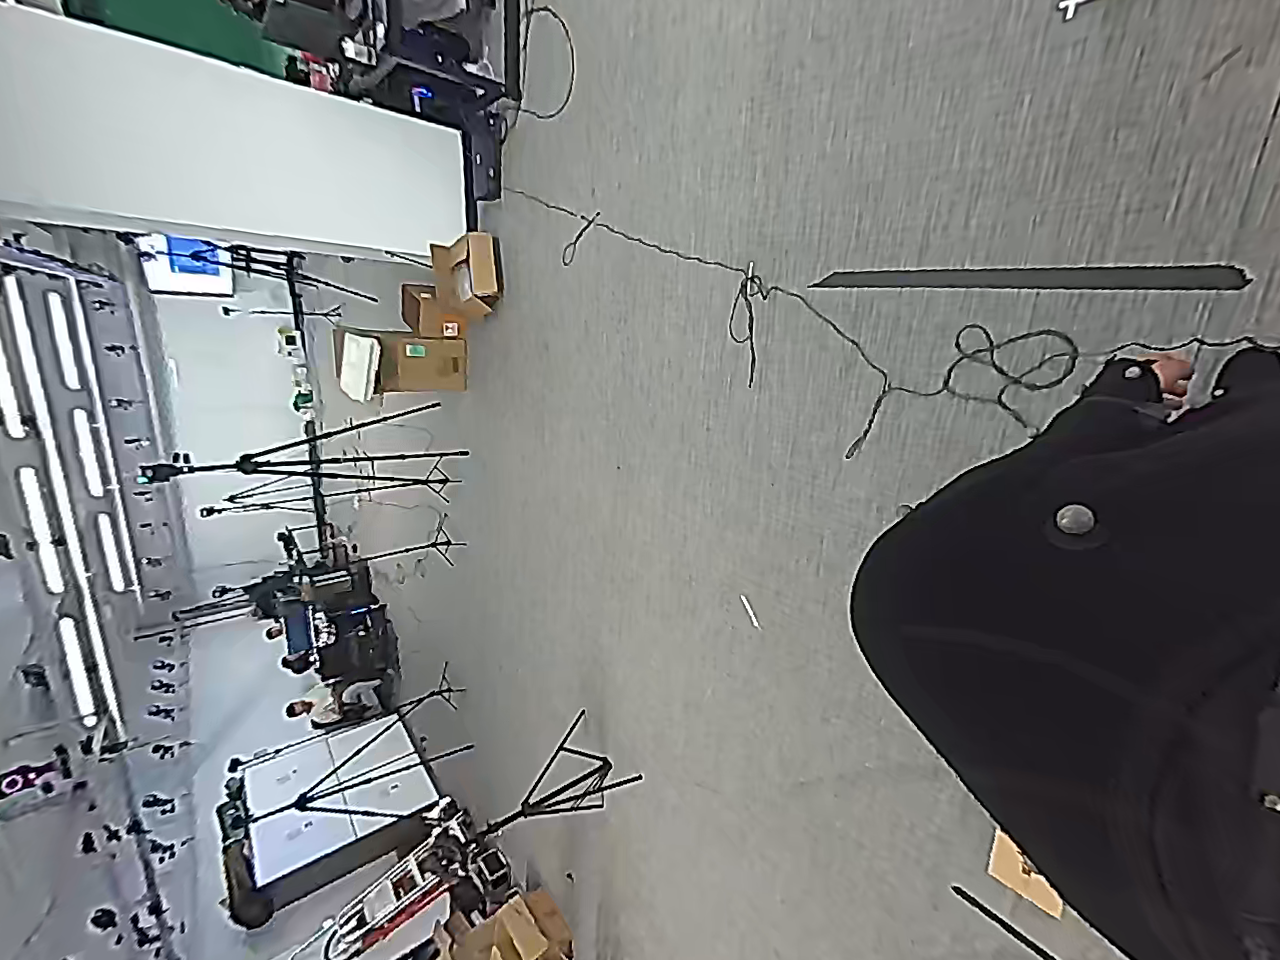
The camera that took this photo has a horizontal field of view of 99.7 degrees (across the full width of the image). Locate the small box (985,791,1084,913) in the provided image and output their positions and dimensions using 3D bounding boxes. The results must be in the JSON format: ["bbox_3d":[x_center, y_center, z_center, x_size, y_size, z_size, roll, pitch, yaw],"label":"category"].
[{"bbox_3d":[1.067,0.989,1.458,0.168,0.176,0.179,17,112,49],"label":"small box"}]
